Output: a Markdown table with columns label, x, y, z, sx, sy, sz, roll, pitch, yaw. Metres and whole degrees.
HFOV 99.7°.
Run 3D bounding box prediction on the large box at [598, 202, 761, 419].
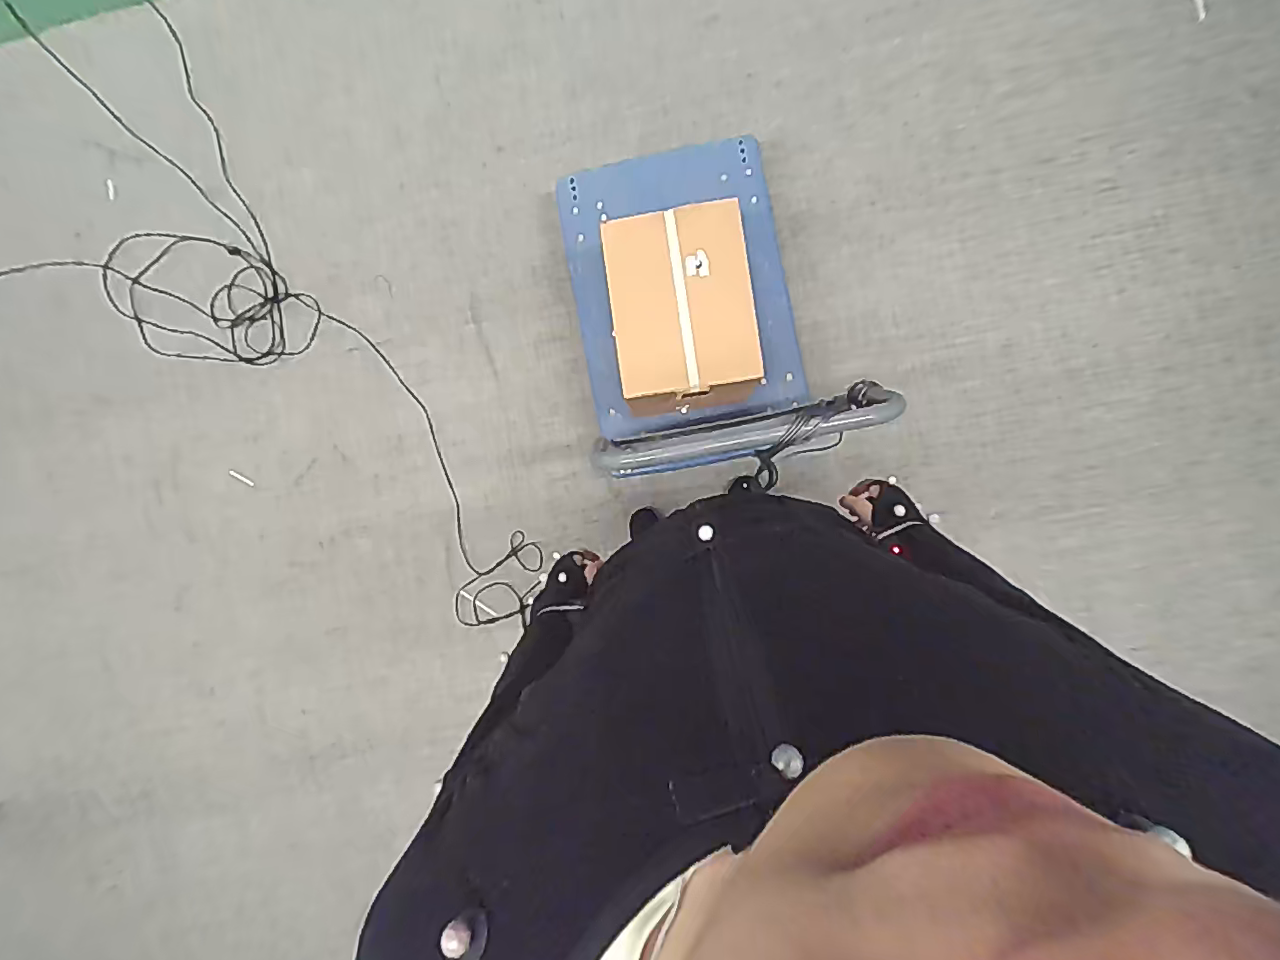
| label | x | y | z | sx | sy | sz | roll | pitch | yaw |
| --- | --- | --- | --- | --- | --- | --- | --- | --- | --- |
| large box | 0.098 | -0.390 | 1.341 | 0.320 | 0.320 | 0.408 | -8 | 87 | 4 |
